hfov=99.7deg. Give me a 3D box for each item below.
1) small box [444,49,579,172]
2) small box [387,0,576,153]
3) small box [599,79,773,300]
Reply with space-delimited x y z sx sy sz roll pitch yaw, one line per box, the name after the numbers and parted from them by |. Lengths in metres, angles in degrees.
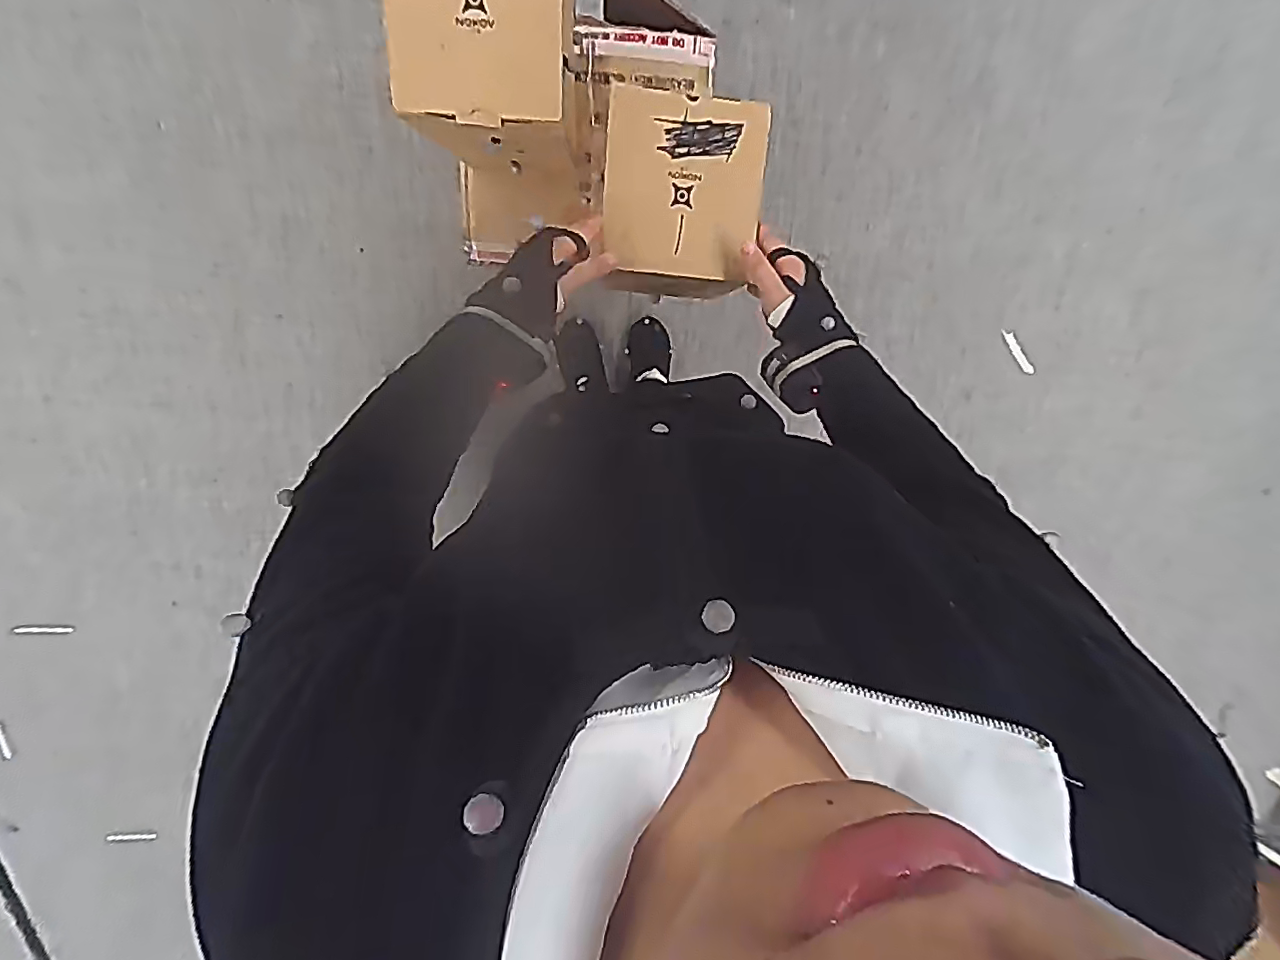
-0.170 -0.534 0.730 0.168 0.176 0.179 0 111 -3 | small box
-0.156 -0.466 0.580 0.168 0.176 0.179 2 112 -4 | small box
0.040 -0.319 0.633 0.168 0.176 0.179 4 101 -7 | small box
